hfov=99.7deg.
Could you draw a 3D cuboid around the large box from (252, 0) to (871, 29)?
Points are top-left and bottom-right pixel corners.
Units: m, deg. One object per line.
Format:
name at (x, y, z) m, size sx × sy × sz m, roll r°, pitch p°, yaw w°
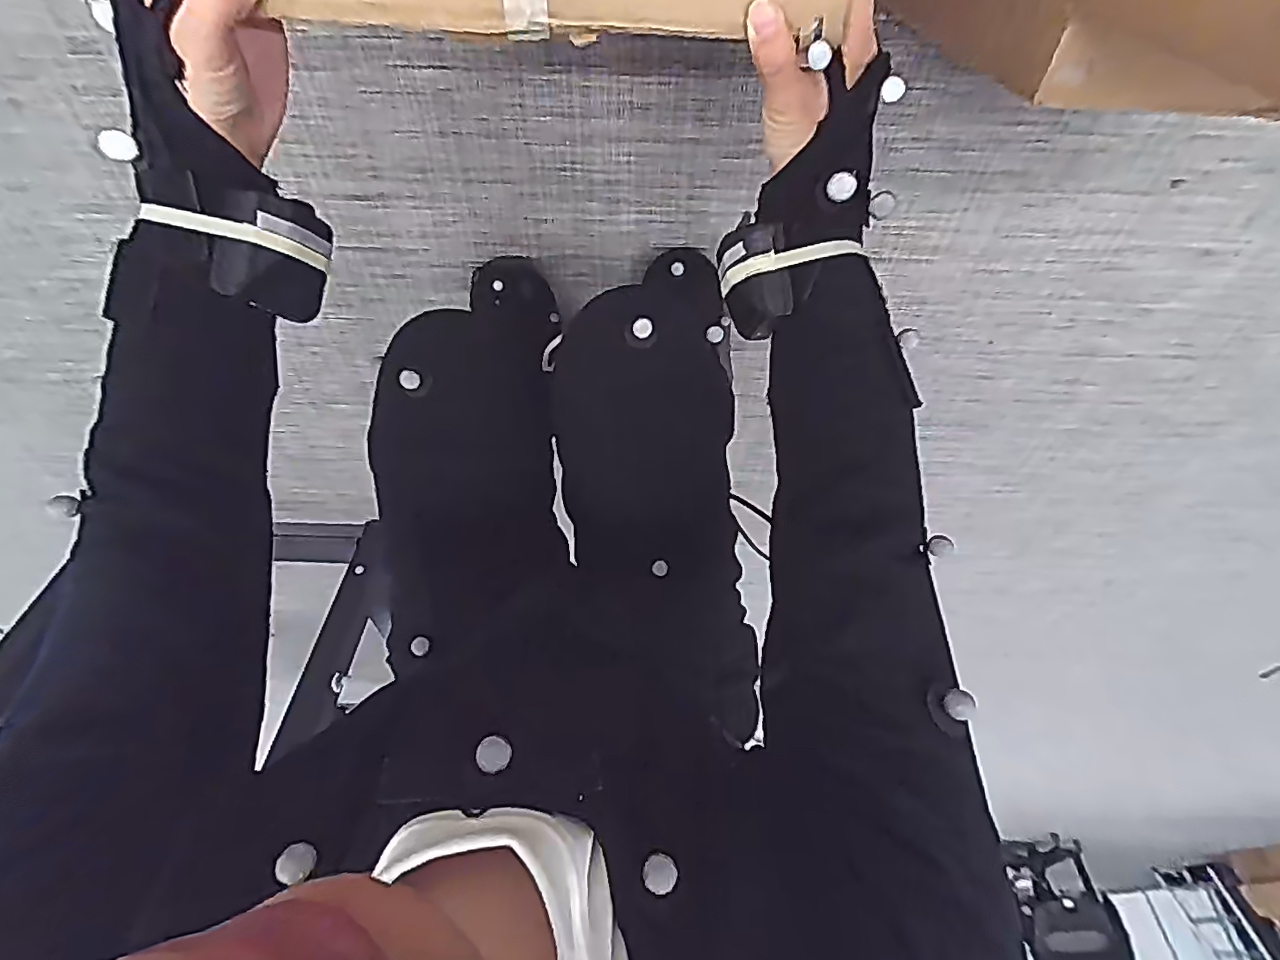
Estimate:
large box at (-0.038, -0.473, 0.220) m, size 0.320 × 0.320 × 0.408 m, roll 2°, pitch 138°, yaw -1°
